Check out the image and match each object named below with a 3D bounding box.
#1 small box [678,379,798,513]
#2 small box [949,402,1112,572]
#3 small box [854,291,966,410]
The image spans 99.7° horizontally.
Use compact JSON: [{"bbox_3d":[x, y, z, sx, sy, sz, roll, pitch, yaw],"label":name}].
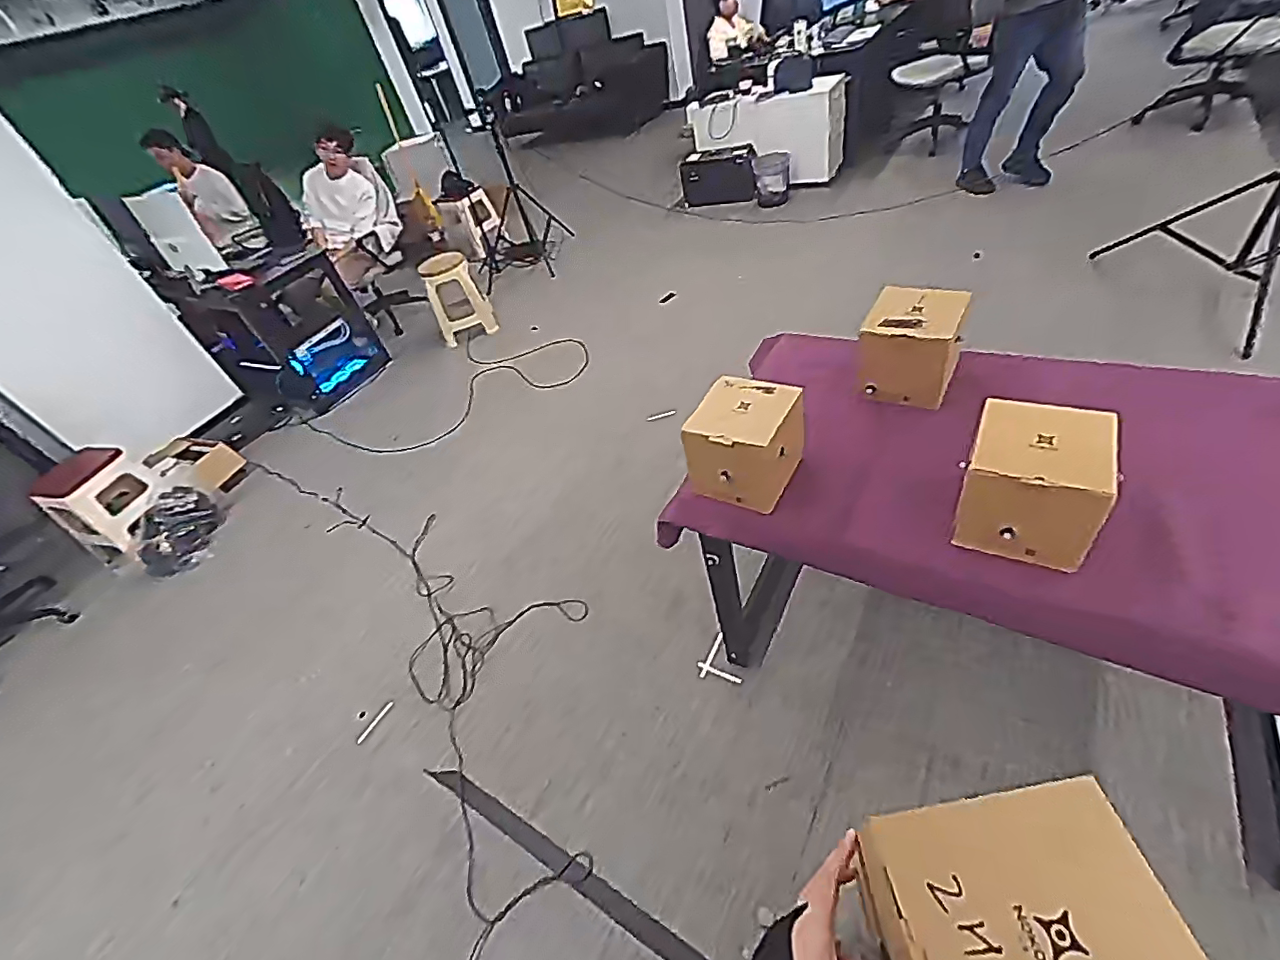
[{"bbox_3d":[0.195,-0.065,1.029,0.168,0.176,0.179,16,53,30],"label":"small box"},{"bbox_3d":[0.591,0.008,0.832,0.168,0.176,0.179,14,51,29],"label":"small box"},{"bbox_3d":[0.555,-0.269,1.123,0.168,0.176,0.179,17,54,31],"label":"small box"}]
